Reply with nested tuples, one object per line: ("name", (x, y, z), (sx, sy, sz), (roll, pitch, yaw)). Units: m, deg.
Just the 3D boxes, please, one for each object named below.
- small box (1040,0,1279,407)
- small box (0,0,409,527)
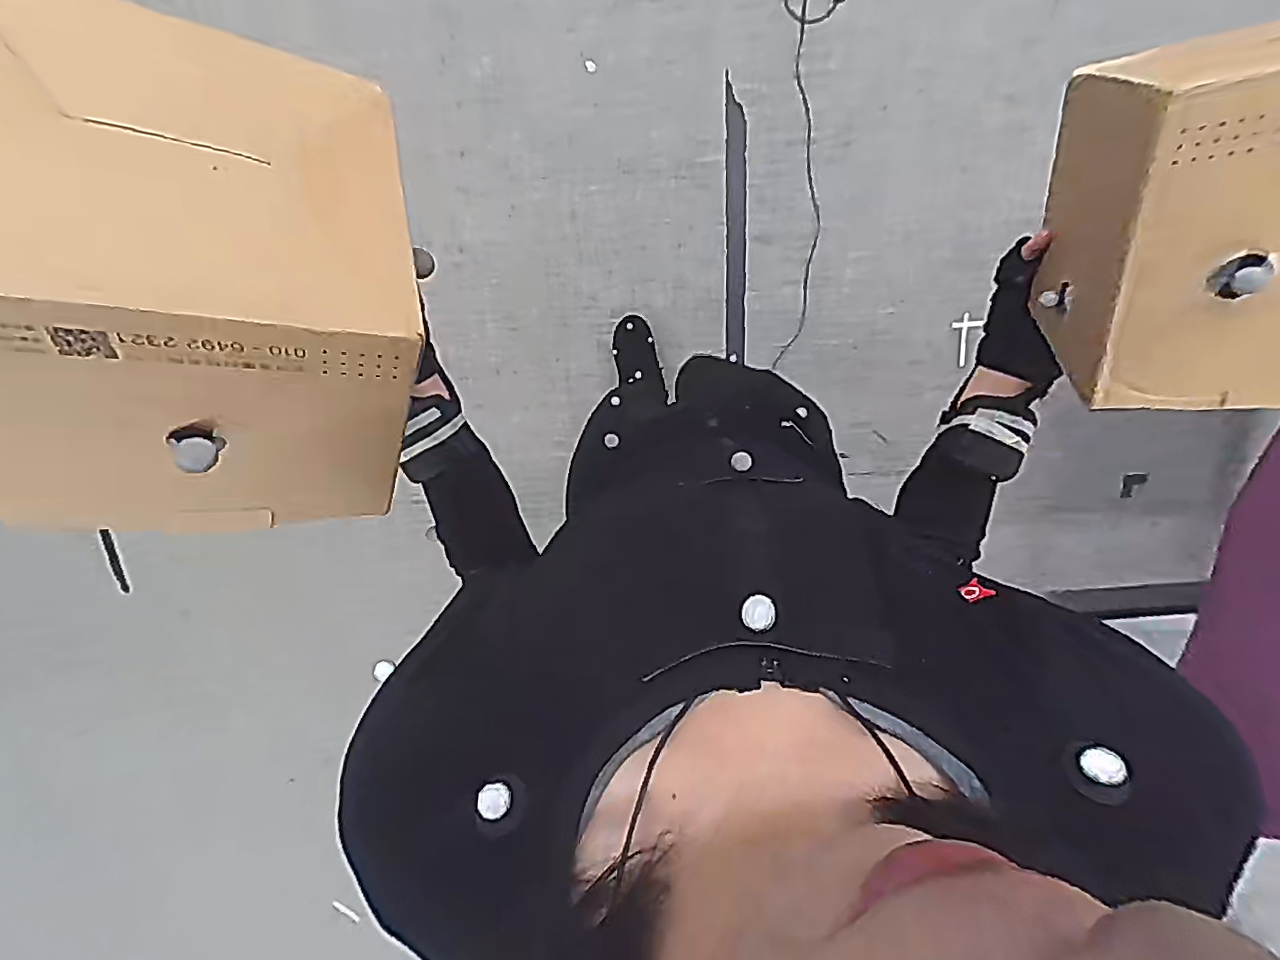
("small box", (0.349, -0.158, 0.296), (0.168, 0.179, 0.176), (2, 128, 23))
("small box", (-0.210, -0.096, 0.255), (0.168, 0.179, 0.176), (-1, 151, -31))
